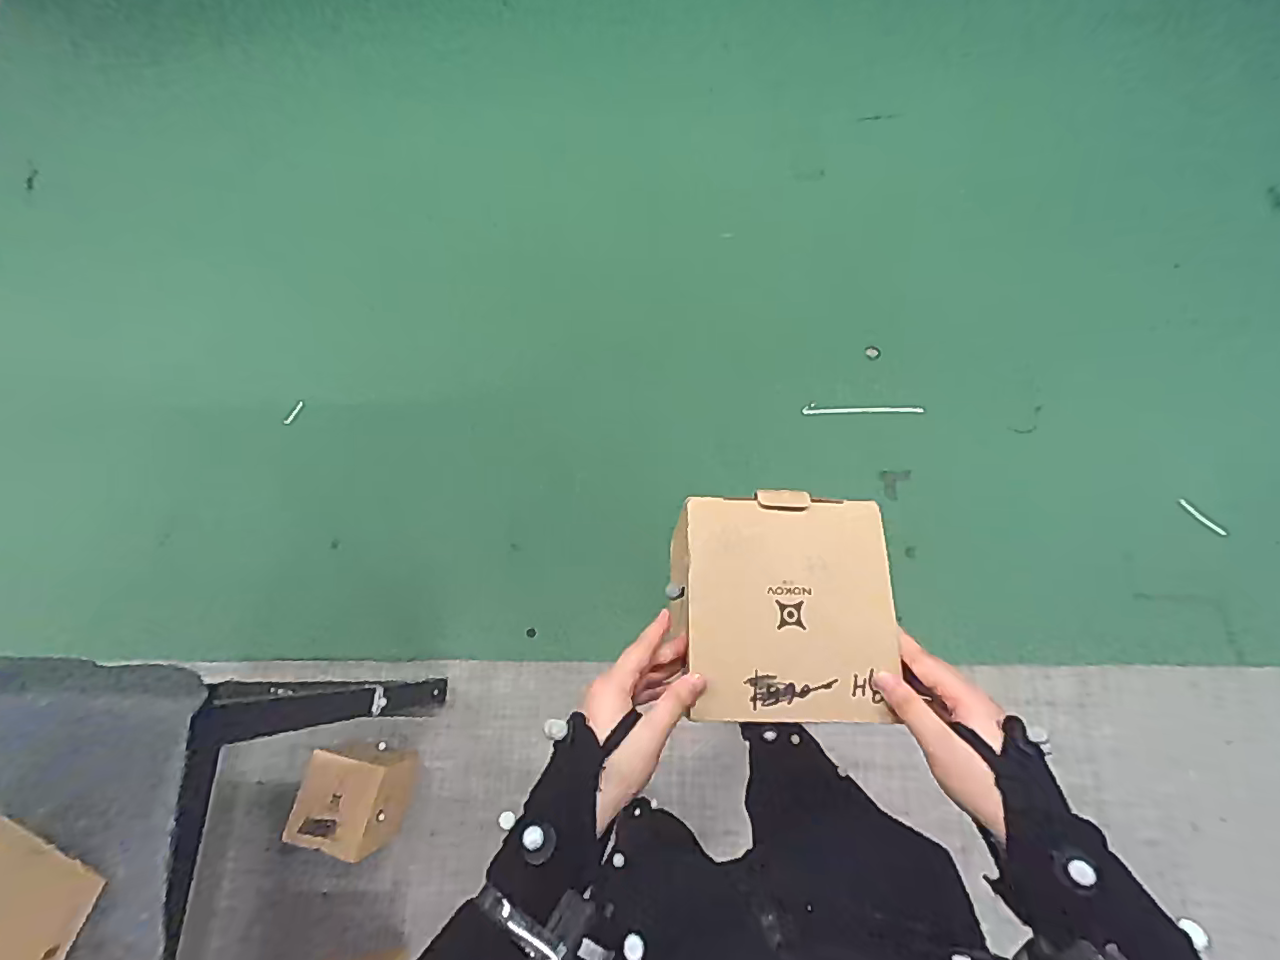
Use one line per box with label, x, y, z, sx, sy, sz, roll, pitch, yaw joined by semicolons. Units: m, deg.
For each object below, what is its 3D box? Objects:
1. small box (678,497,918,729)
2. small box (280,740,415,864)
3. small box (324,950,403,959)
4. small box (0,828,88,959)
small box;0.124;0.124;0.499;0.168;0.176;0.179;2;72;-1
small box;-0.618;0.685;1.171;0.168;0.176;0.179;12;72;7
small box;-0.586;1.052;1.050;0.179;0.176;0.168;-4;71;4
small box;-0.675;0.445;0.481;0.179;0.176;0.168;18;74;13
